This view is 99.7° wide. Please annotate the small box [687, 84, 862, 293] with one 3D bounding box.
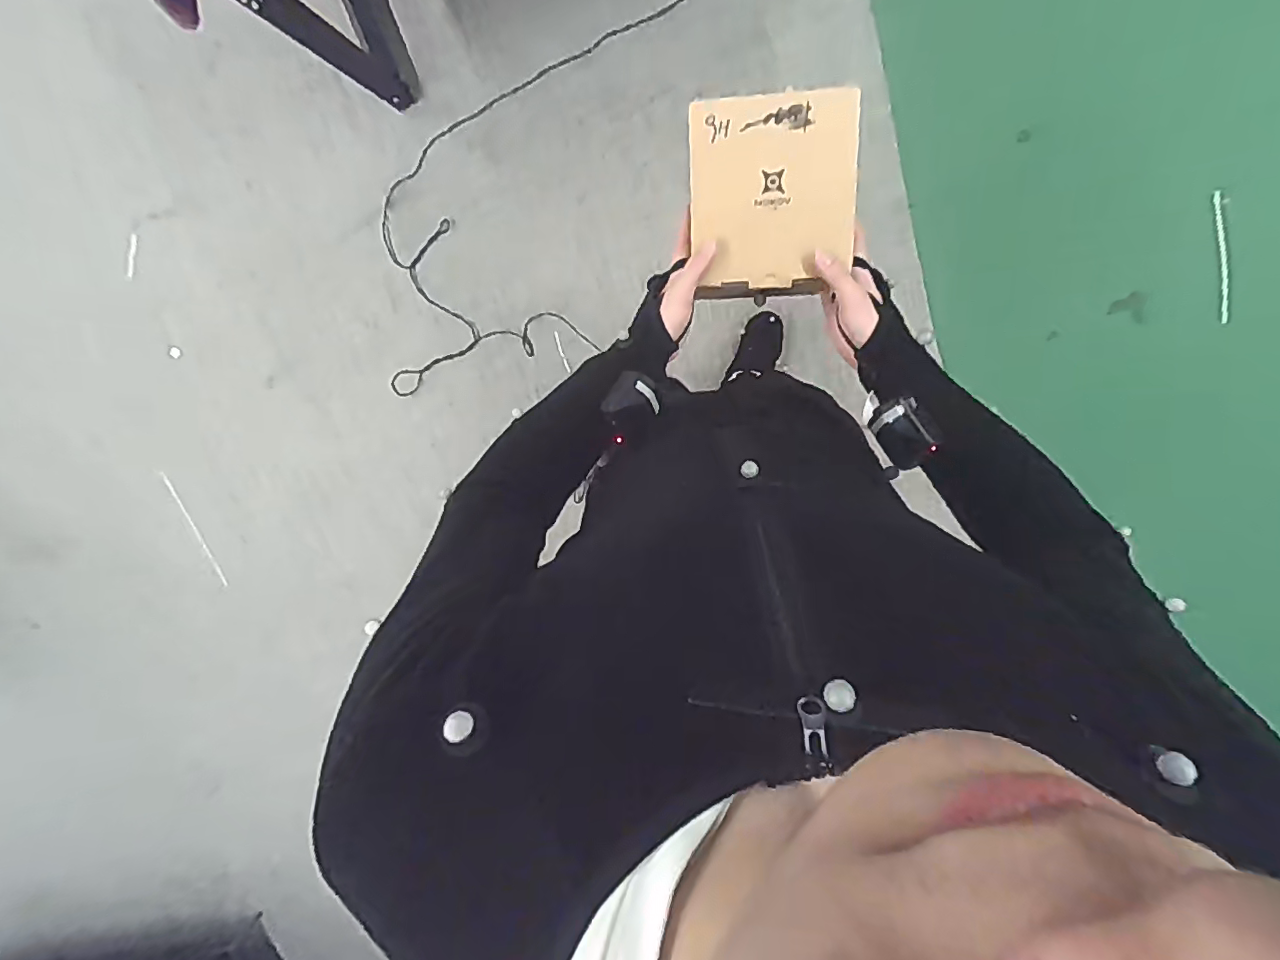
[{"bbox_3d":[0.139,-0.308,0.612,0.168,0.176,0.179,-1,105,7],"label":"small box"}]
